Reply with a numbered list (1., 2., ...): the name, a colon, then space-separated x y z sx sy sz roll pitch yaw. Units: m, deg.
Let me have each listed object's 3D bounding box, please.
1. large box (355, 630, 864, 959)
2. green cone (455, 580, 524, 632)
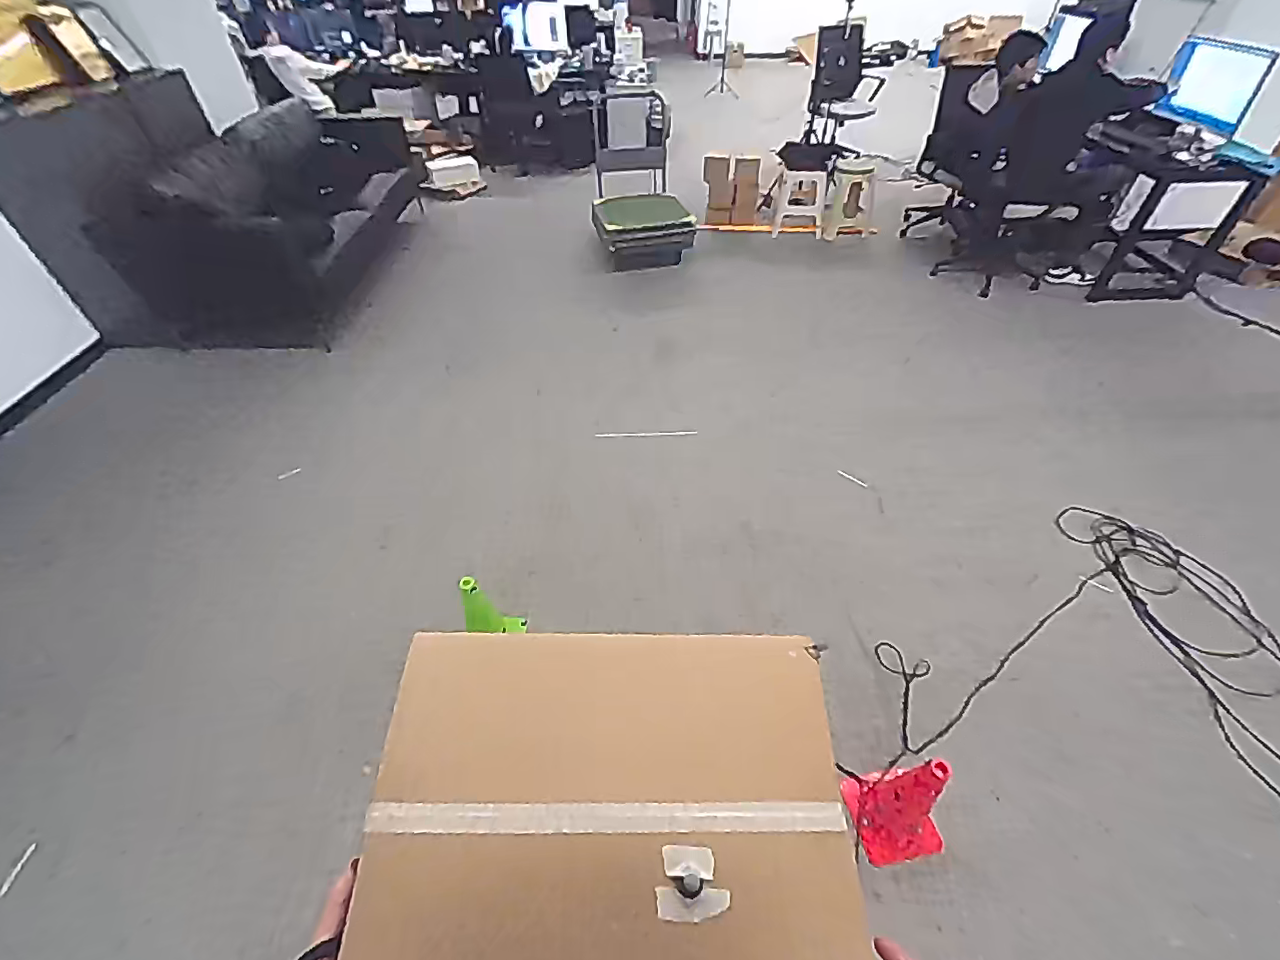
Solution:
1. large box: -0.029 0.368 0.601 0.408 0.320 0.320 1 57 -2
2. green cone: -0.494 0.414 1.629 0.200 0.368 0.202 3 46 5
